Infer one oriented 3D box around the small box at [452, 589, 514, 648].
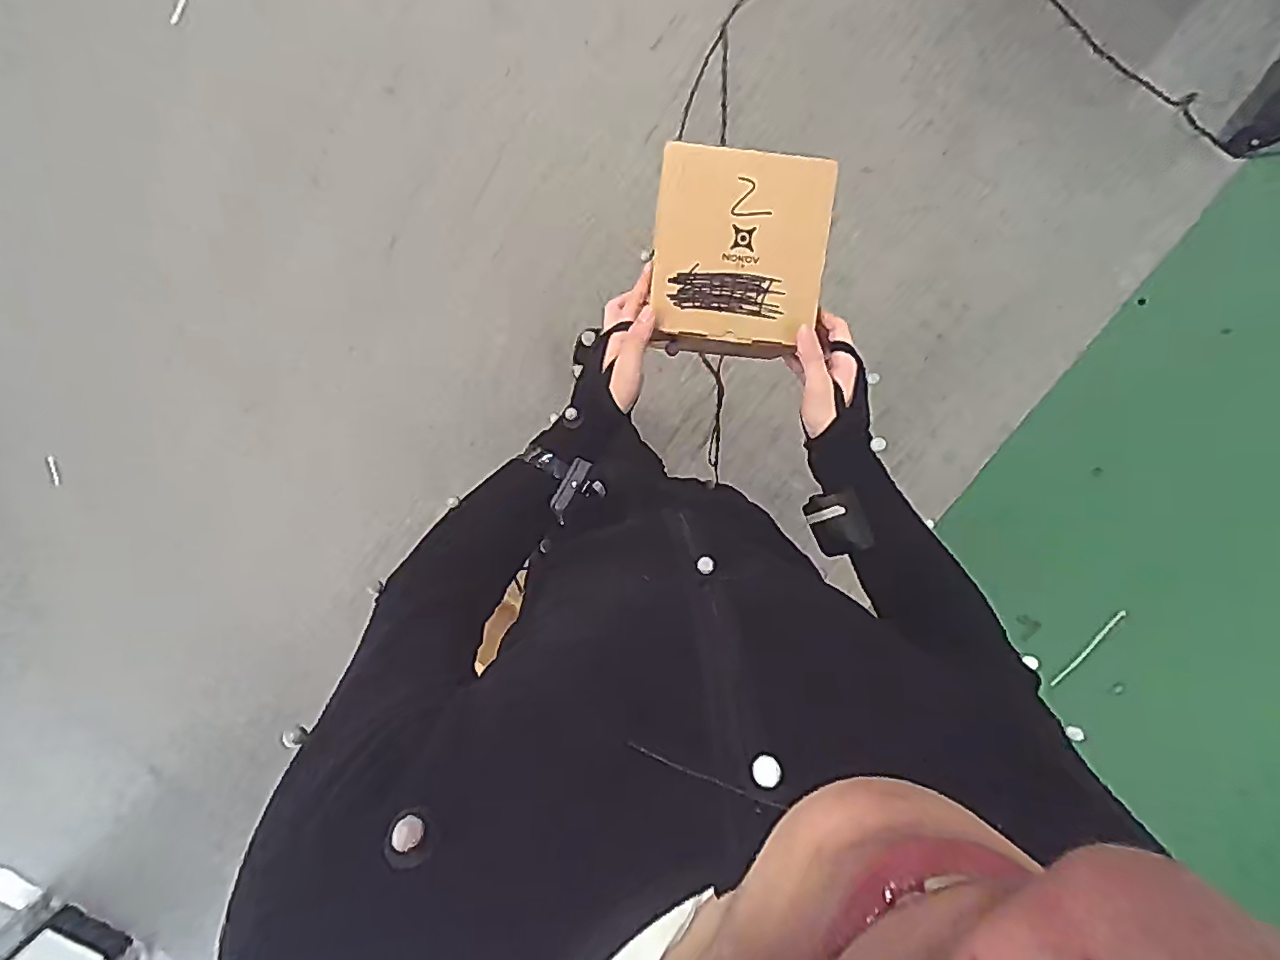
[{"bbox_3d":[-0.485,0.447,1.570,0.168,0.176,0.179,38,99,-6],"label":"small box"}]
